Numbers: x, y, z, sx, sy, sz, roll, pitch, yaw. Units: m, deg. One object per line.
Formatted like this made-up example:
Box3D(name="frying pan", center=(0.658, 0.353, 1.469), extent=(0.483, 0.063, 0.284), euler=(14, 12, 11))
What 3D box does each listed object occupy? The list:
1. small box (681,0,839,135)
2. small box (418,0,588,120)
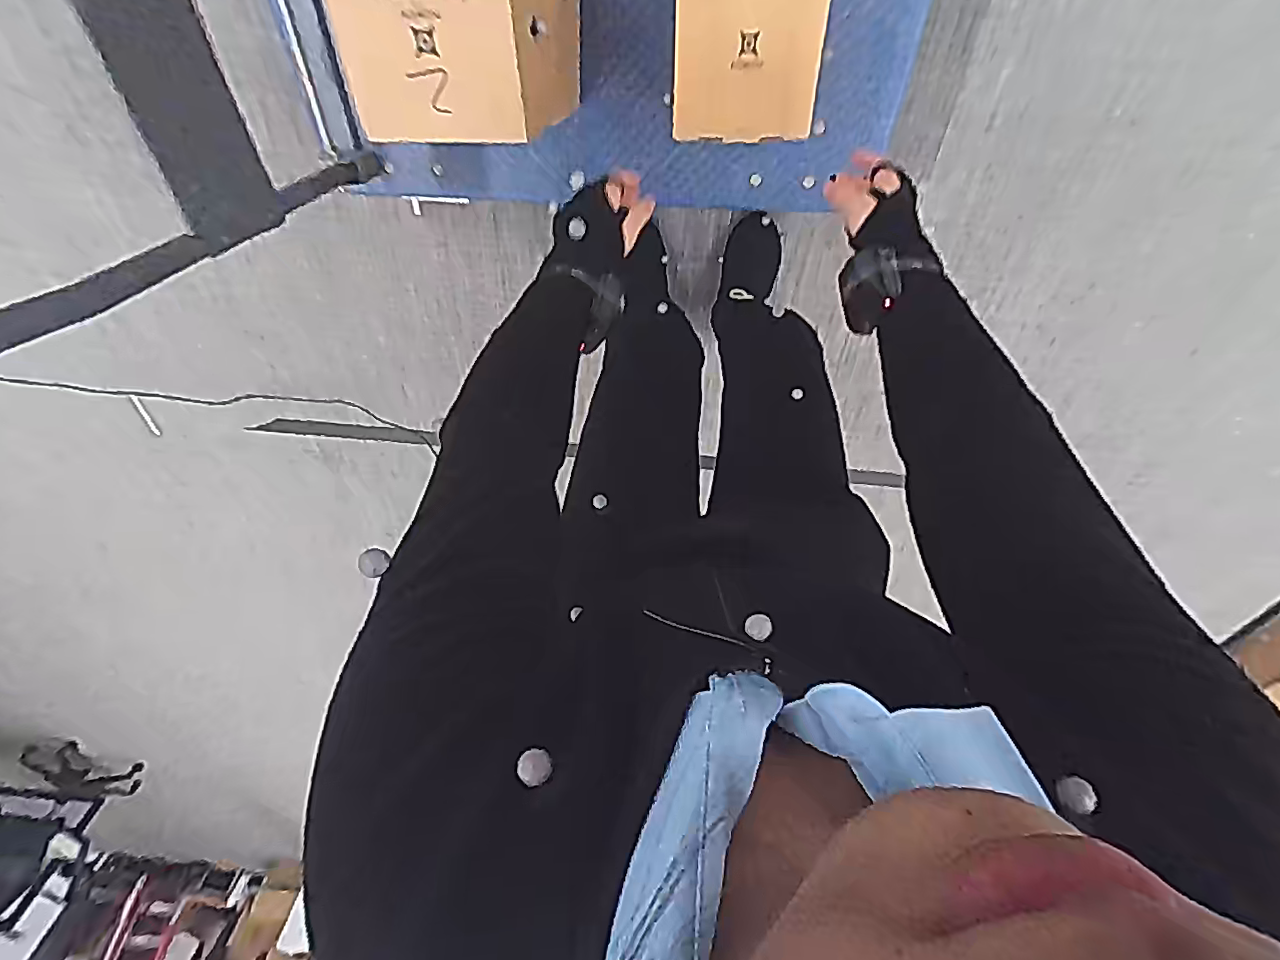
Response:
Box3D(name="small box", center=(0.136, -0.538, 0.661), extent=(0.168, 0.176, 0.179), euler=(2, 131, 4))
Box3D(name="small box", center=(-0.158, -0.565, 0.661), extent=(0.168, 0.176, 0.179), euler=(7, 131, 0))
